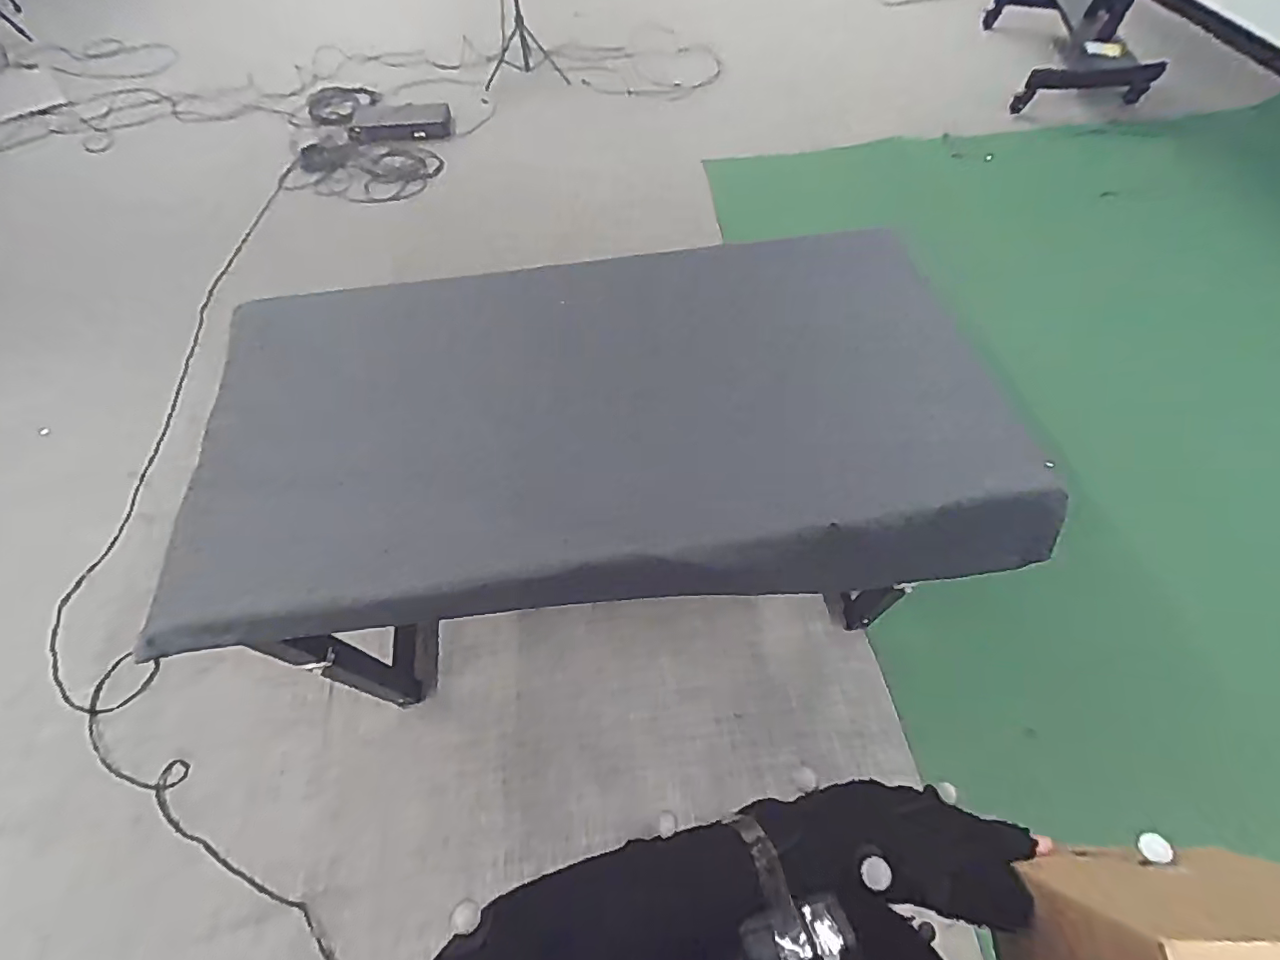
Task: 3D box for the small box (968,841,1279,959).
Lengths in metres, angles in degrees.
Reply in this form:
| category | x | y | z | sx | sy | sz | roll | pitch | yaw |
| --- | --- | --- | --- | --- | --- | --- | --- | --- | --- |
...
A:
| category | x | y | z | sx | sy | sz | roll | pitch | yaw |
| --- | --- | --- | --- | --- | --- | --- | --- | --- | --- |
| small box | 0.306 | 0.312 | 0.280 | 0.168 | 0.176 | 0.179 | -1 | 67 | 4 |
